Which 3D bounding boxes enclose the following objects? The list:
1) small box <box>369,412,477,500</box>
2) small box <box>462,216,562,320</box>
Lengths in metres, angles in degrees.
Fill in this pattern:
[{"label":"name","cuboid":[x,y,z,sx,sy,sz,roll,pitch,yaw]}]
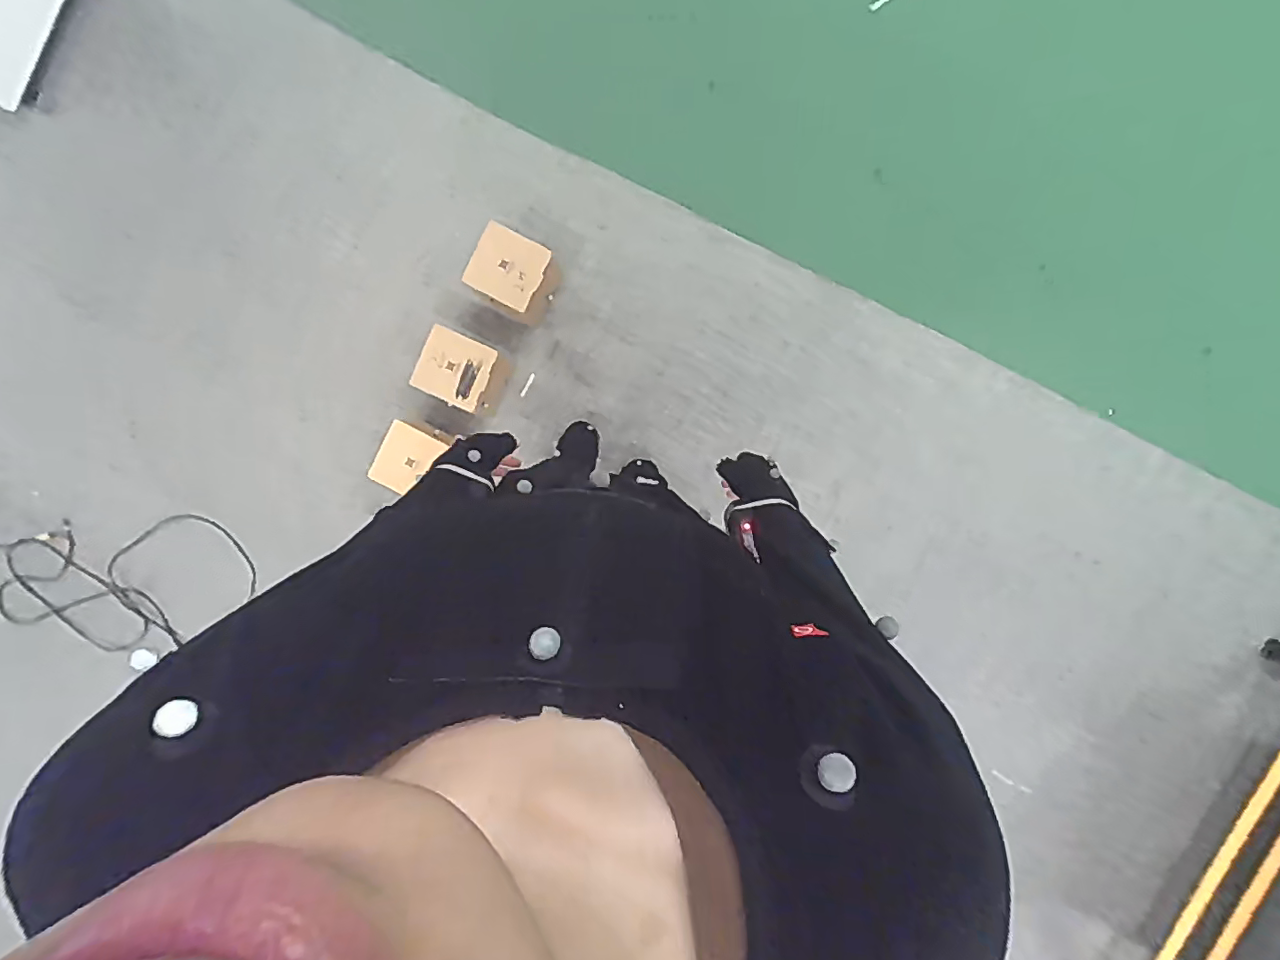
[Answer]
[{"label":"small box","cuboid":[-0.562,-0.061,1.421,0.179,0.176,0.168,28,94,-1]},{"label":"small box","cuboid":[-0.320,-0.532,1.388,0.179,0.176,0.168,28,94,-1]}]
